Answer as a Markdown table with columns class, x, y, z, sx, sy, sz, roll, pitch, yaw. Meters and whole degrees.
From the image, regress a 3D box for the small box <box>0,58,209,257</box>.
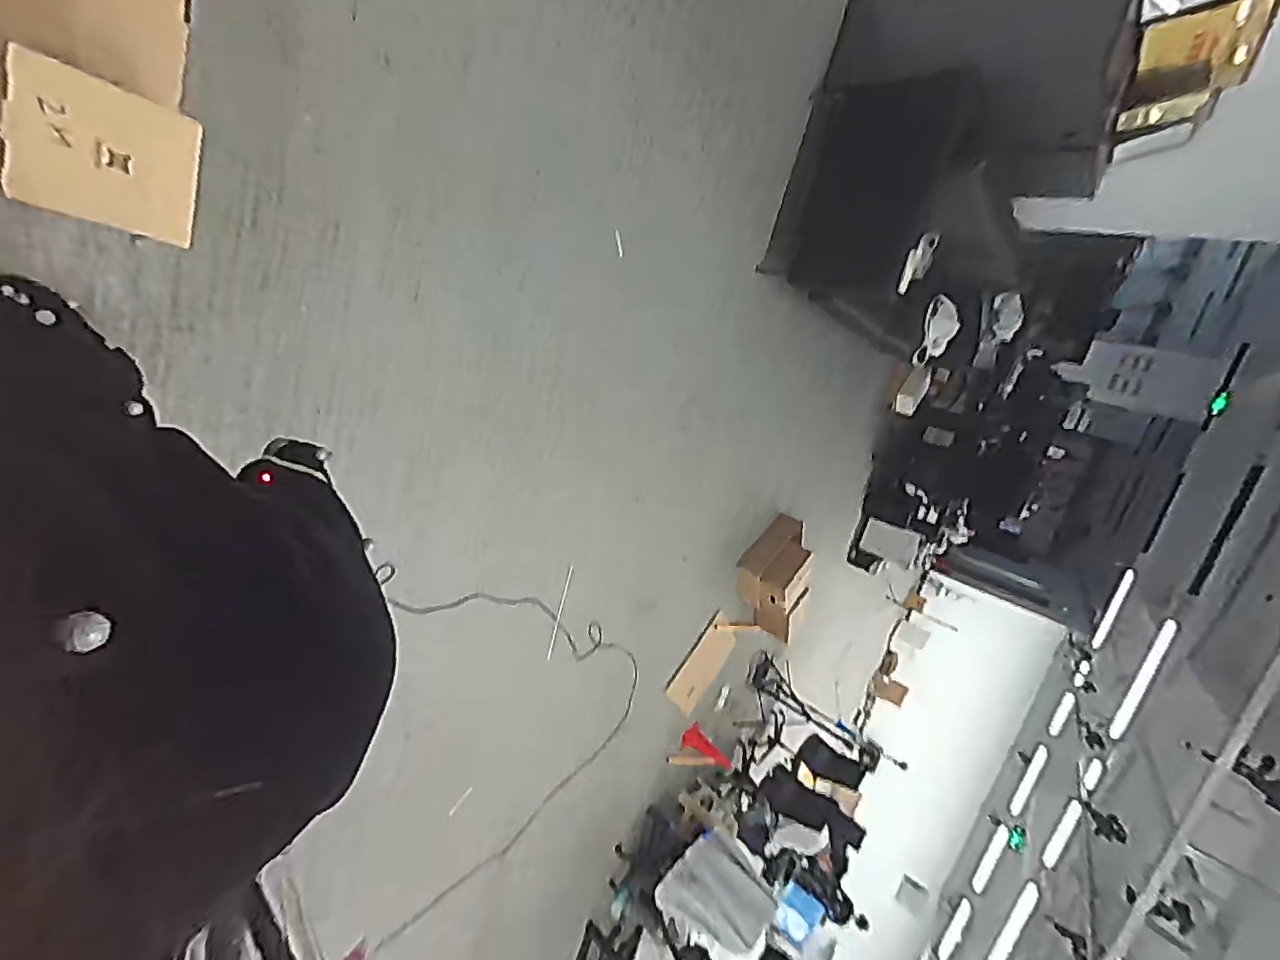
| class | x | y | z | sx | sy | sz | roll | pitch | yaw |
| --- | --- | --- | --- | --- | --- | --- | --- | --- | --- |
| small box | -0.721 | -0.419 | 0.726 | 0.179 | 0.176 | 0.168 | 3 | 106 | -53 |
